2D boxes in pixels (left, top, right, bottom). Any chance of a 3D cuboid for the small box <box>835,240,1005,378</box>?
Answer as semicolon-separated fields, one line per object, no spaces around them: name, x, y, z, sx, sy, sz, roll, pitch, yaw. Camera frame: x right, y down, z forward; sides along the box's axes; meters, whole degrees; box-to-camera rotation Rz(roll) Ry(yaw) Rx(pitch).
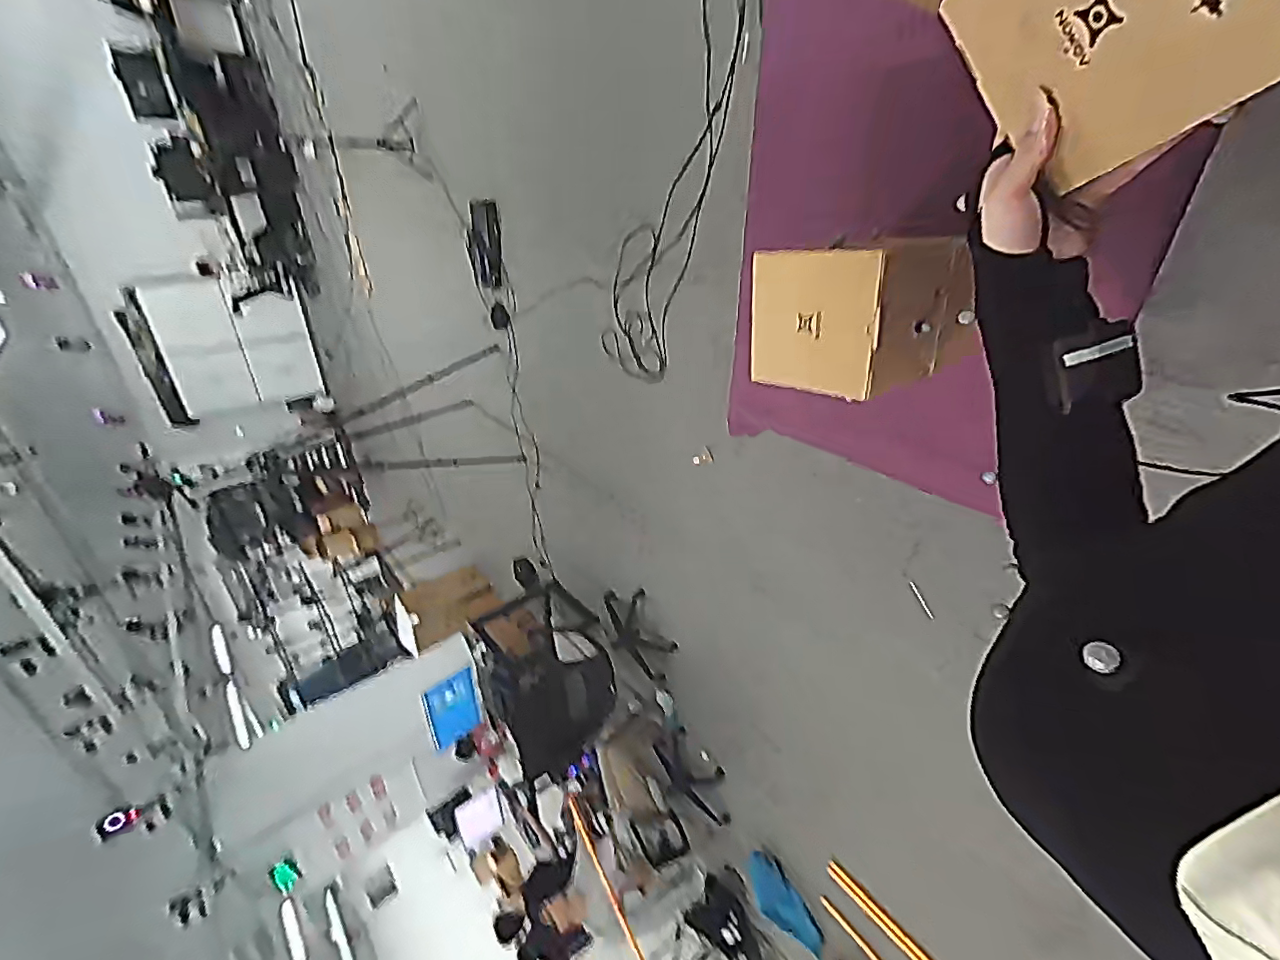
small box;0.400;-0.262;0.805;0.179;0.176;0.168;25;127;45

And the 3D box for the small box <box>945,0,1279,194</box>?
small box;0.332;-0.315;0.314;0.168;0.176;0.179;58;-176;-6

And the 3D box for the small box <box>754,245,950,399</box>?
small box;0.273;-0.216;0.714;0.179;0.176;0.168;22;124;46
